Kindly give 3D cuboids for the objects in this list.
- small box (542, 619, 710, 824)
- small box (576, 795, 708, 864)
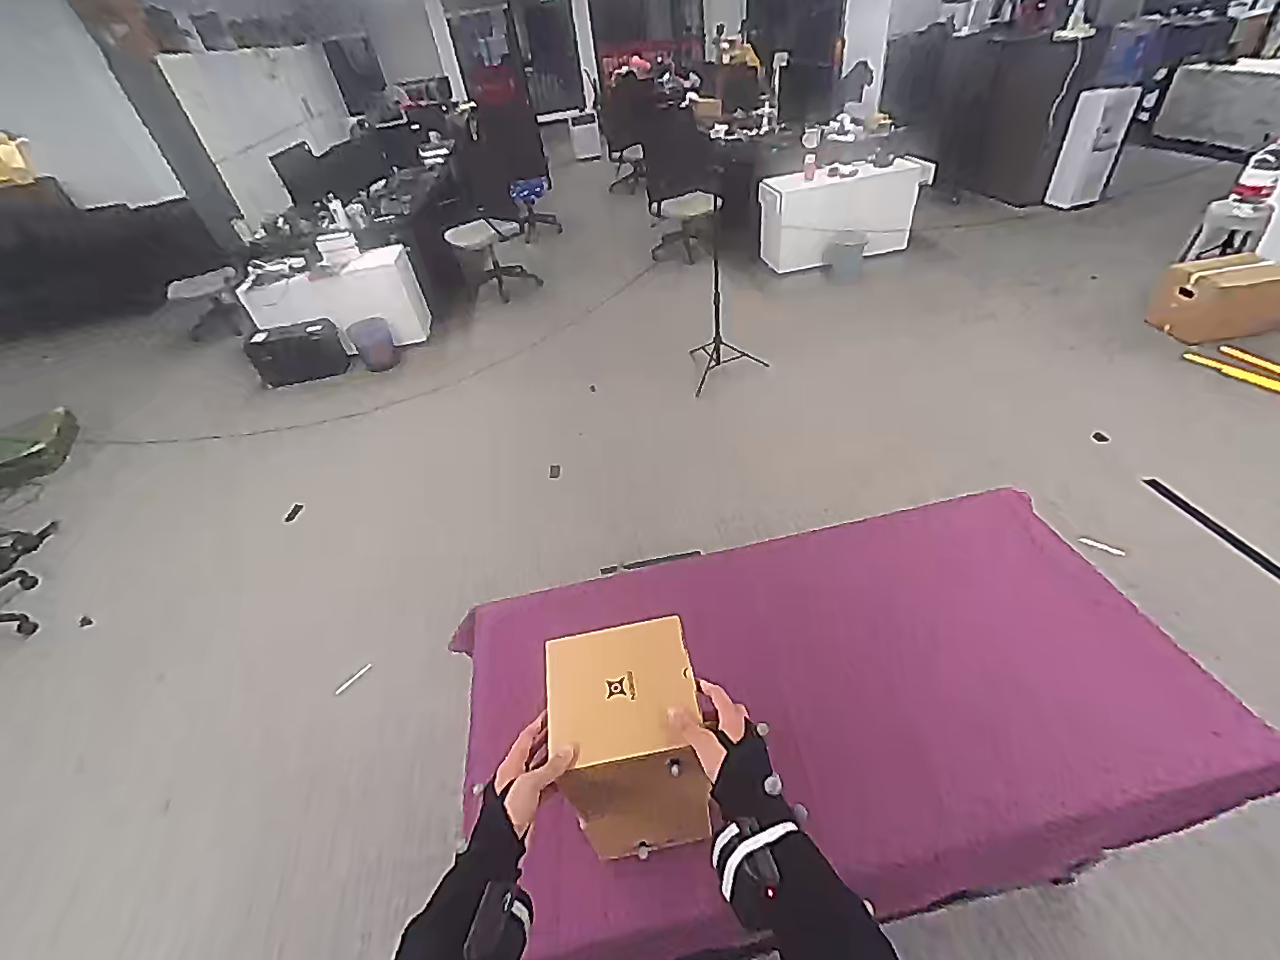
[{"bbox_3d":[-0.017,0.304,0.677,0.179,0.176,0.168,-11,41,-2],"label":"small box"},{"bbox_3d":[-0.001,0.422,0.788,0.168,0.176,0.179,-12,41,-1],"label":"small box"}]
